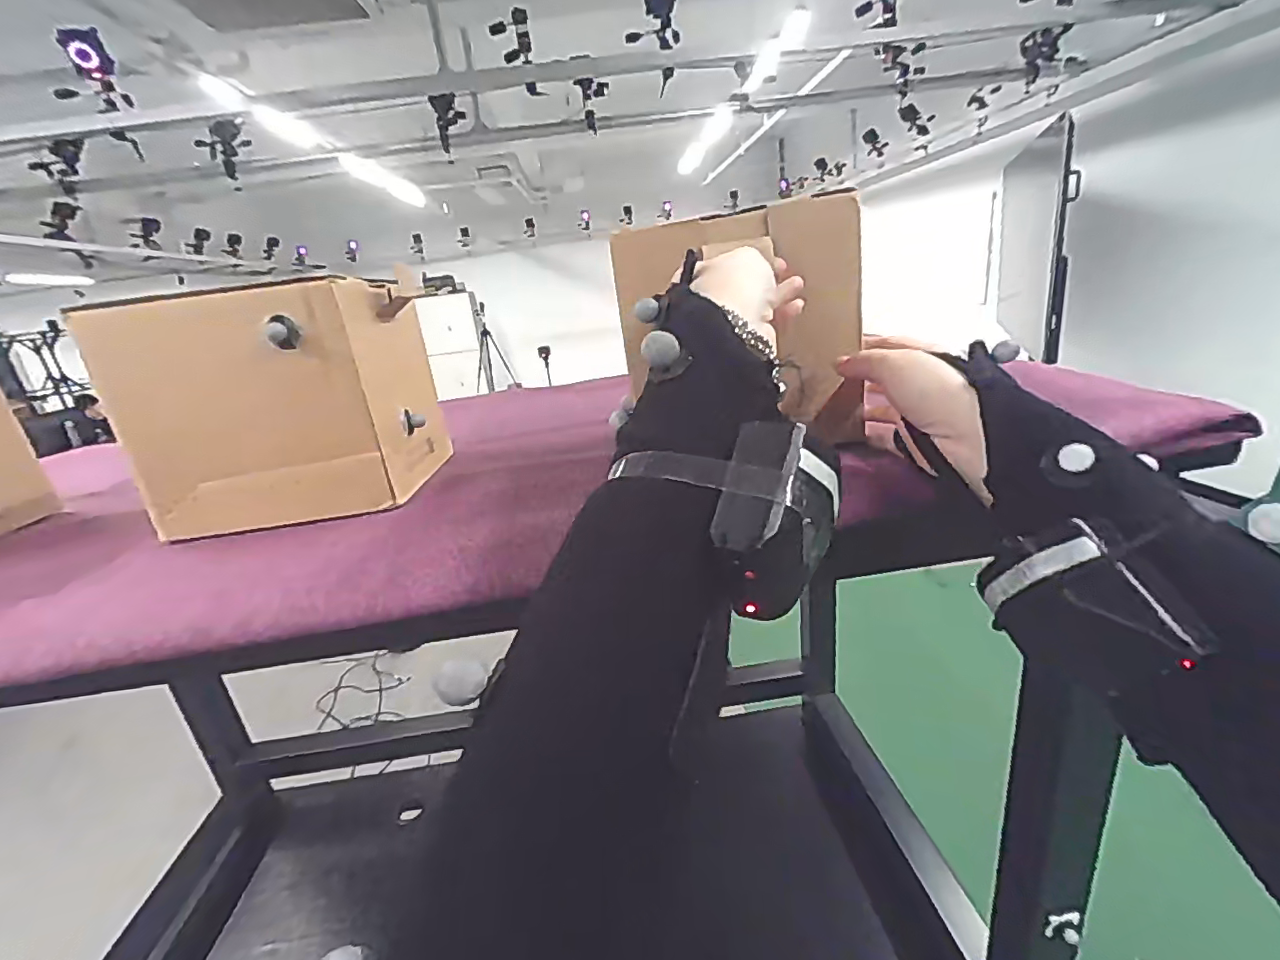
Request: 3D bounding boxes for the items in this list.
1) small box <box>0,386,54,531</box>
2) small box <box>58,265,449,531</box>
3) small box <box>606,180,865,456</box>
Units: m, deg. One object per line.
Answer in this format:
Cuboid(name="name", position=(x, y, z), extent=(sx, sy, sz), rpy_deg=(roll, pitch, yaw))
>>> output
Cuboid(name="small box", position=(-0.636, -0.012, 0.408), extent=(0.179, 0.176, 0.168), rpy_deg=(-8, 21, -2))
Cuboid(name="small box", position=(-0.279, -0.068, 0.441), extent=(0.179, 0.176, 0.168), rpy_deg=(-8, 18, -2))
Cuboid(name="small box", position=(0.076, -0.121, 0.443), extent=(0.168, 0.176, 0.179), rpy_deg=(-7, 17, 6))
